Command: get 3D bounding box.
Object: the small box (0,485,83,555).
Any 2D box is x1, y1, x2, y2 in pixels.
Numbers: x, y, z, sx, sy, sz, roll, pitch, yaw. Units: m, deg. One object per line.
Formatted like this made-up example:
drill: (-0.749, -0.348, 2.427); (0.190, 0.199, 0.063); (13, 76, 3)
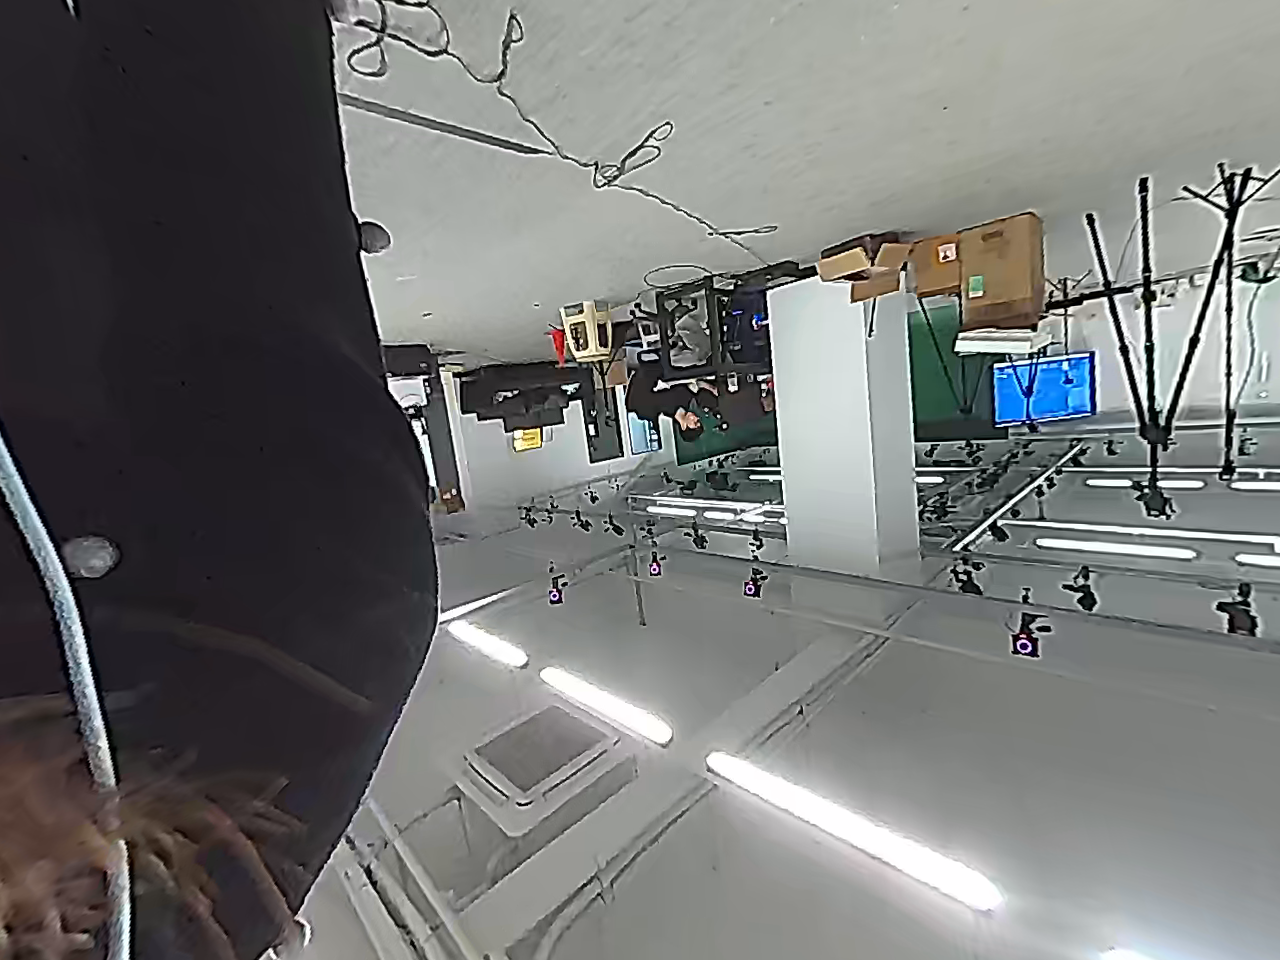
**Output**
small box: (-1.779, 0.109, 1.592); (0.168, 0.176, 0.179); (-17, -168, -43)
